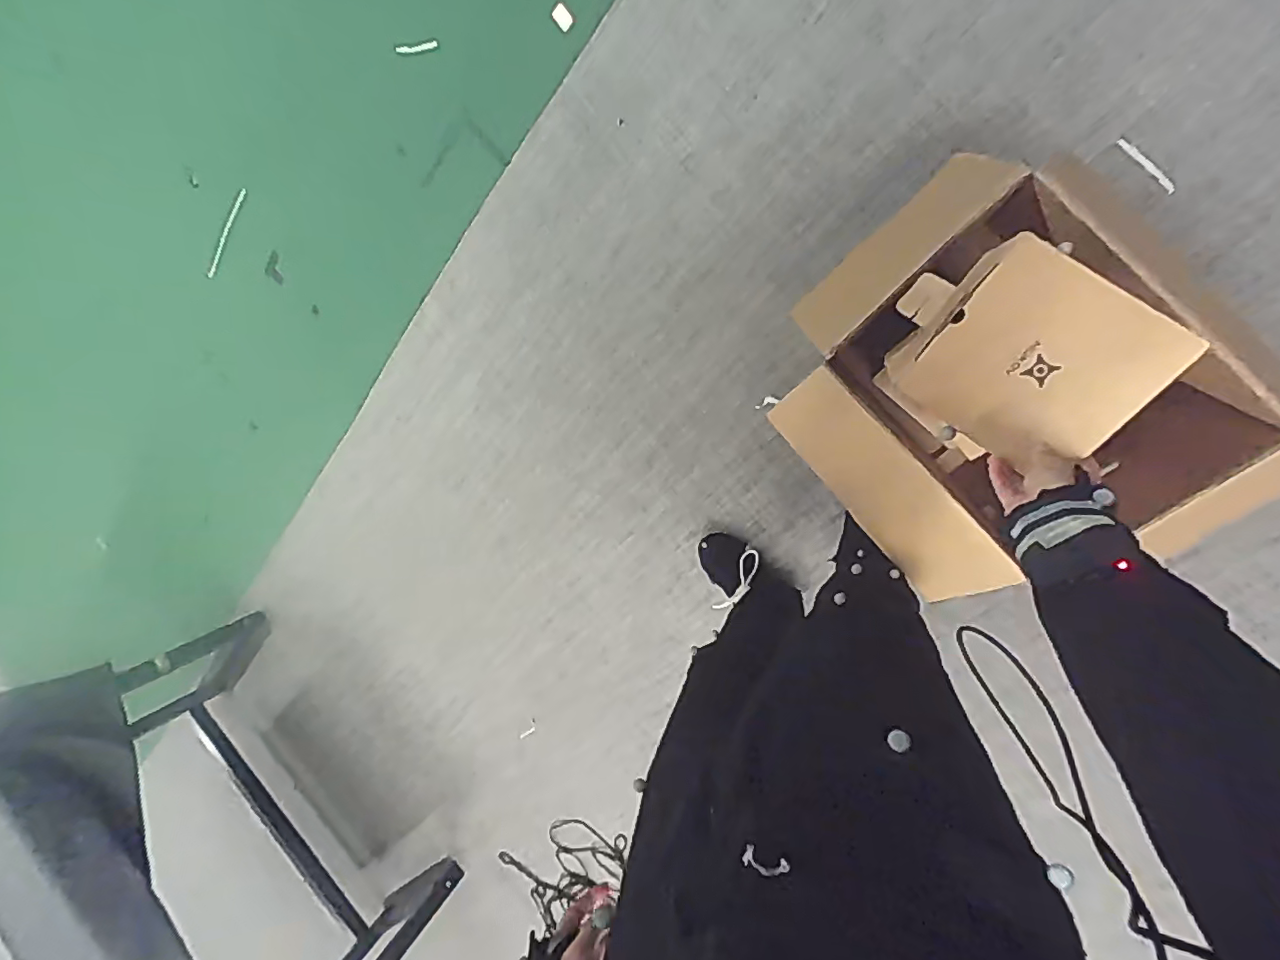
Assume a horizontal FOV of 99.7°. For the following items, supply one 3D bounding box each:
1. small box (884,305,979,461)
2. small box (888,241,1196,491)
[{"bbox_3d":[0.445,-0.156,0.716,0.179,0.176,0.168,-40,88,28],"label":"small box"},{"bbox_3d":[0.389,-0.121,0.567,0.179,0.176,0.168,40,116,9],"label":"small box"}]
